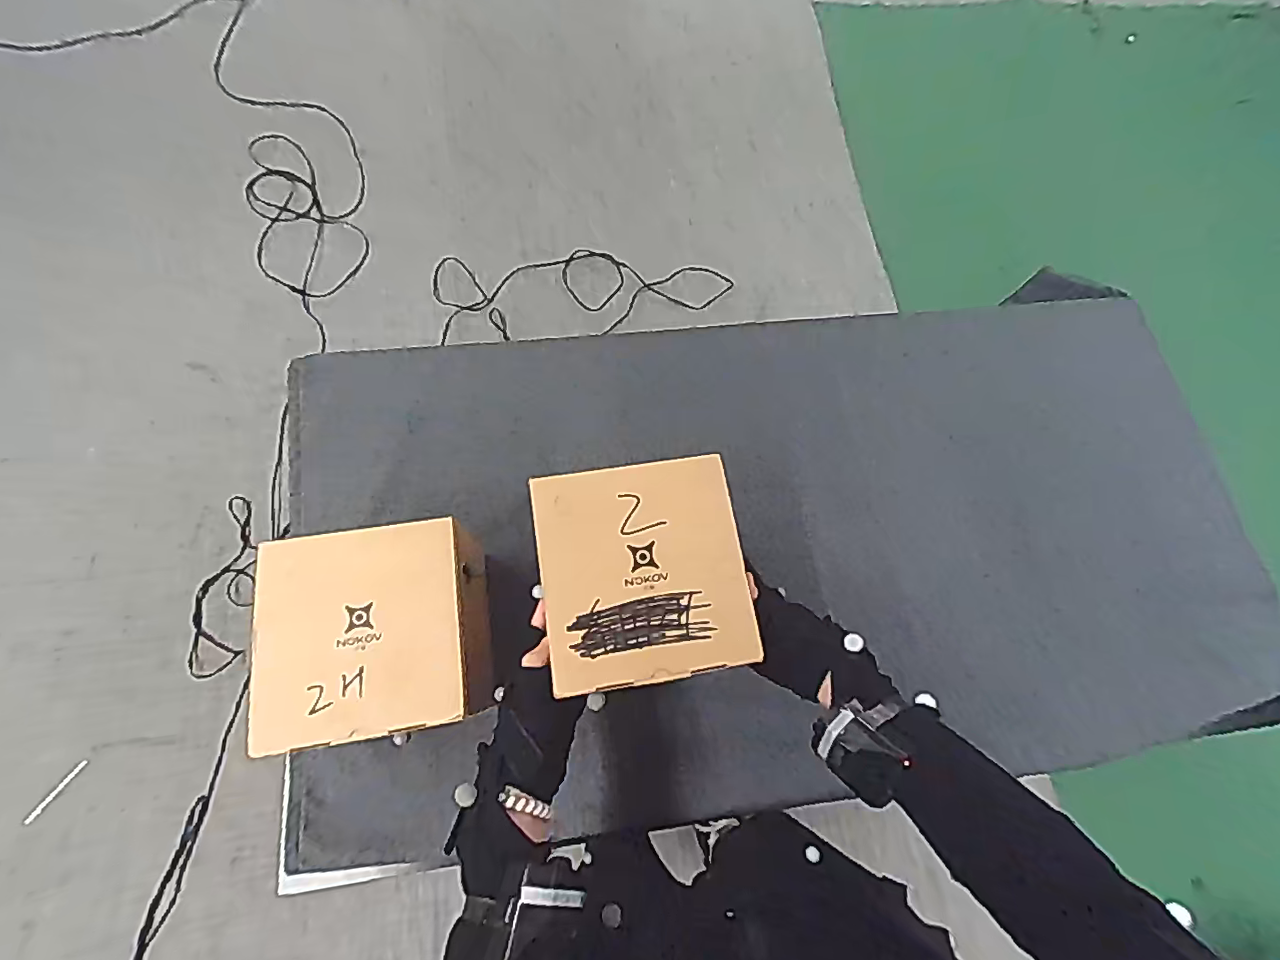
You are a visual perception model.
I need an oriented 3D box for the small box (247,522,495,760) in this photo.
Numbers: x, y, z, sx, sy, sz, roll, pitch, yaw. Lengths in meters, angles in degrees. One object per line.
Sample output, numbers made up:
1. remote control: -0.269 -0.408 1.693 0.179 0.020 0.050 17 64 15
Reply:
1. small box: -0.241 0.154 0.527 0.168 0.176 0.179 -7 72 -8
